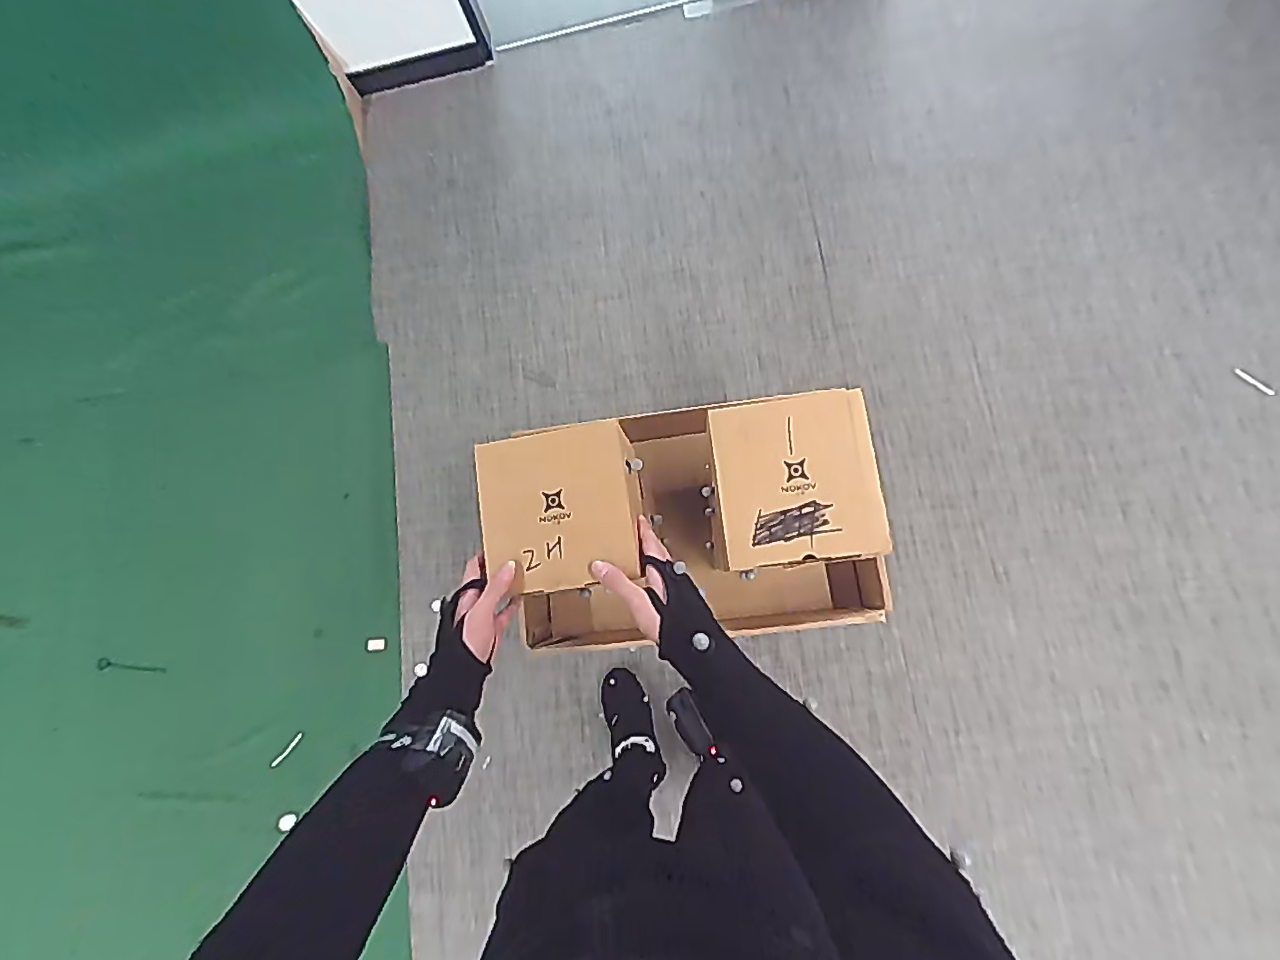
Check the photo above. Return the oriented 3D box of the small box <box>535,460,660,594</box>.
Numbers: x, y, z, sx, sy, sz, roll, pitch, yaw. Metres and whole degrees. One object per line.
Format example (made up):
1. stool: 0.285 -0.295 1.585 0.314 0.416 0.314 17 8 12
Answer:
1. small box: -0.066 0.077 0.827 0.179 0.176 0.168 -10 79 4

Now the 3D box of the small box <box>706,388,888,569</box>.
1. small box: 0.171 0.010 0.639 0.168 0.176 0.179 -7 78 6

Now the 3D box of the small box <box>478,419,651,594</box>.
1. small box: -0.084 0.042 0.665 0.168 0.176 0.179 -10 79 5

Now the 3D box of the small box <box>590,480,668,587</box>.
1. small box: -0.048 0.106 0.987 0.179 0.176 0.168 -8 79 4
